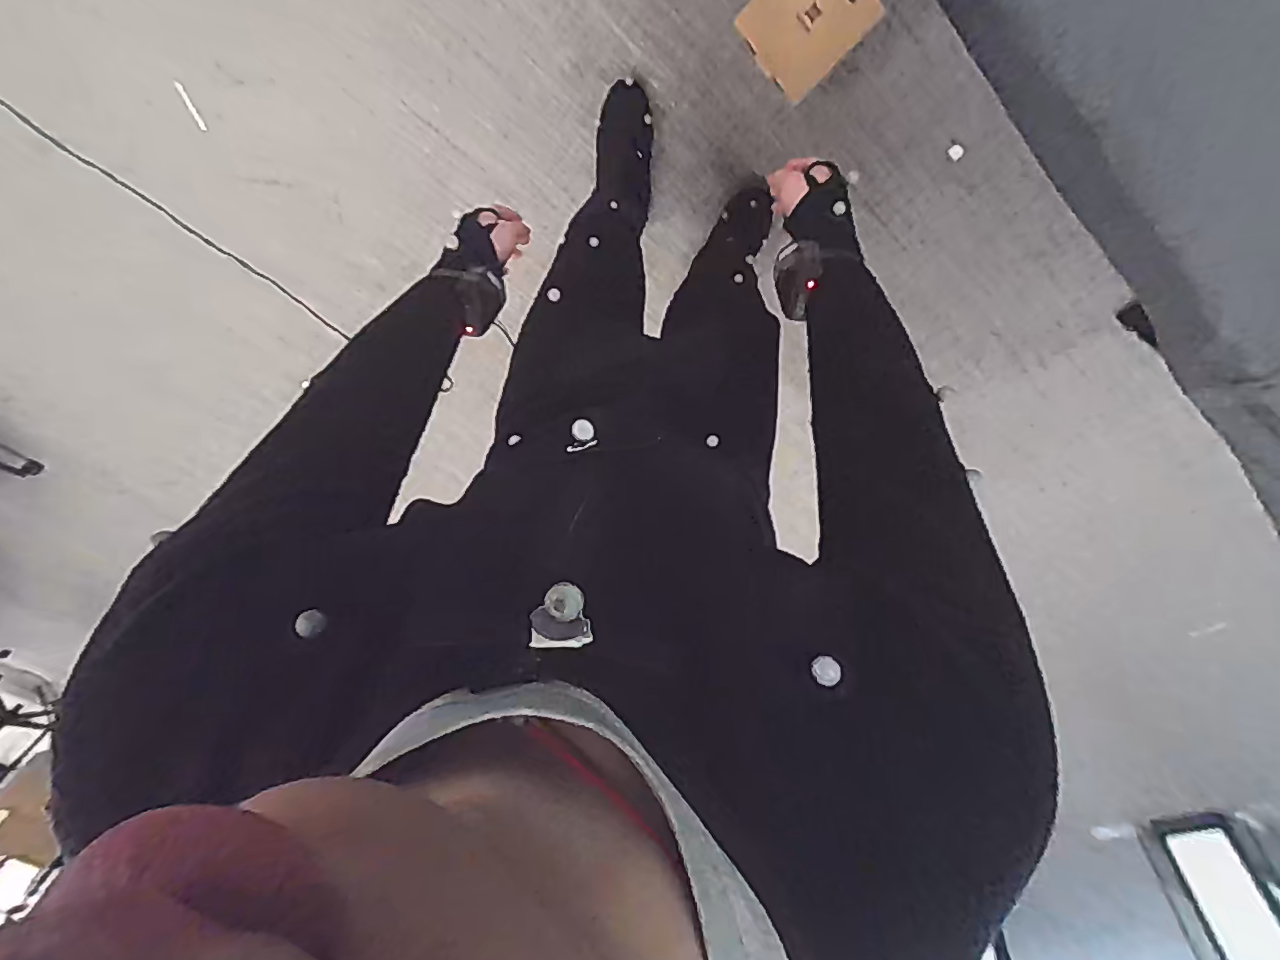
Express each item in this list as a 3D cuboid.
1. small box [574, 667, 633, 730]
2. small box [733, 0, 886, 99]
[{"bbox_3d":[-0.144,0.896,2.222,0.168,0.176,0.179,35,128,-18],"label":"small box"},{"bbox_3d":[0.275,-0.786,0.904,0.168,0.176,0.179,39,126,-22],"label":"small box"}]
